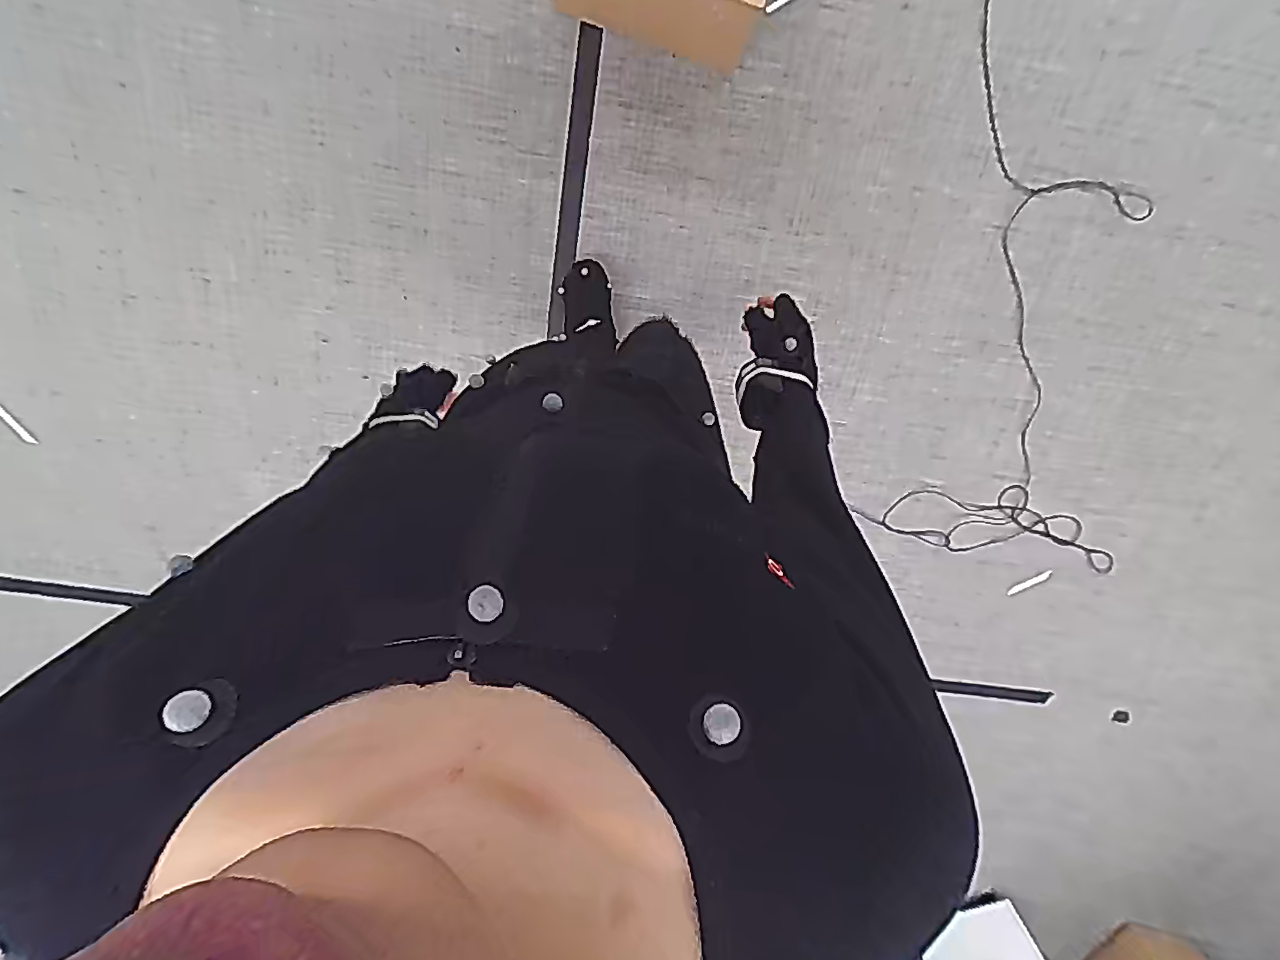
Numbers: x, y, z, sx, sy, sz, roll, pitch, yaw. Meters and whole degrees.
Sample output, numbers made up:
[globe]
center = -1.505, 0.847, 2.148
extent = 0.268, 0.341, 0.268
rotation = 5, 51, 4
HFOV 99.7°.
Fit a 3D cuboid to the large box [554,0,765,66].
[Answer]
[large box]
center = 0.052, -1.035, 0.973
extent = 0.408, 0.320, 0.320
rotation = 14, 110, -7
